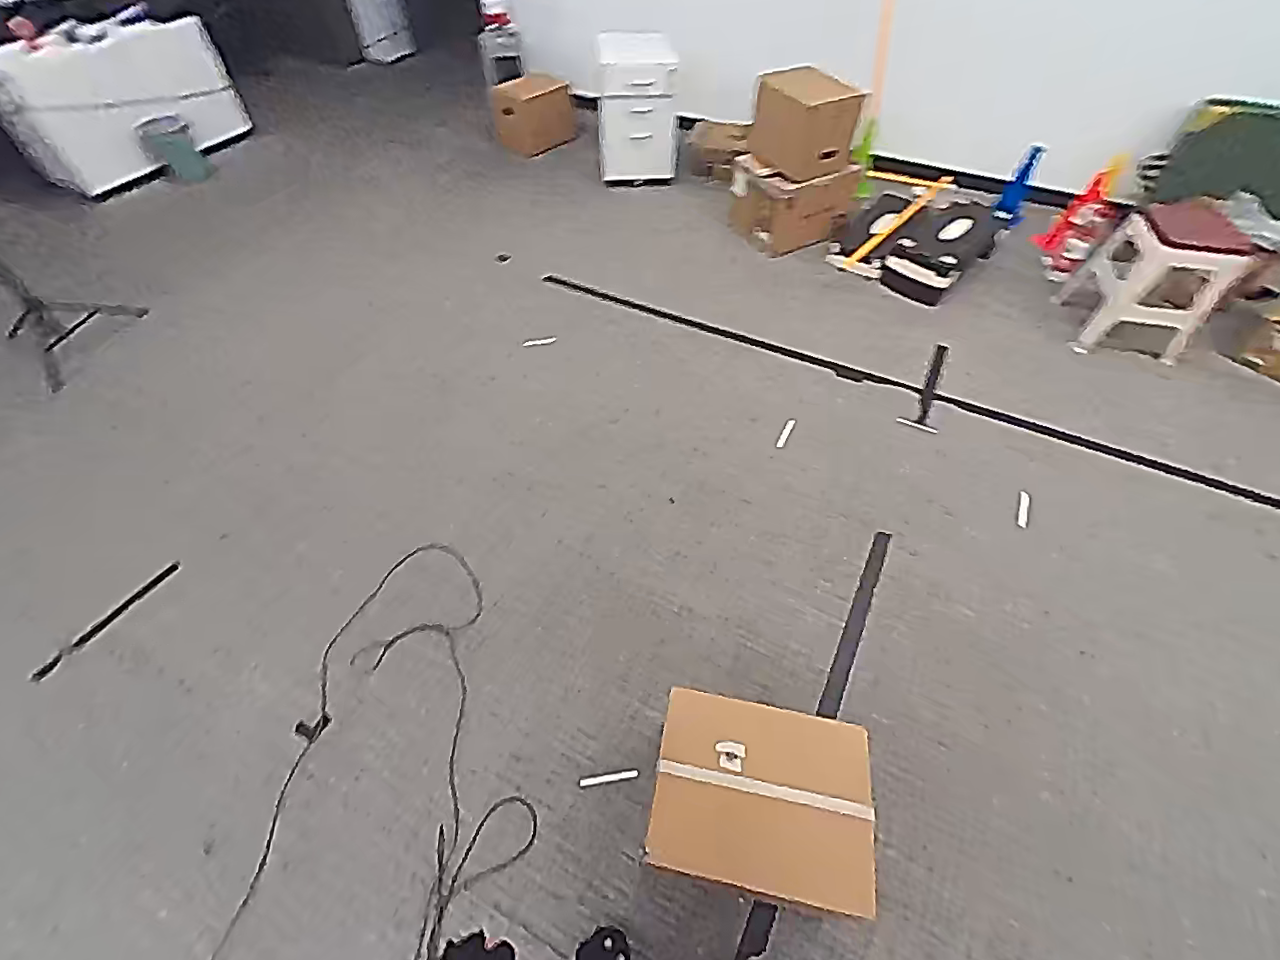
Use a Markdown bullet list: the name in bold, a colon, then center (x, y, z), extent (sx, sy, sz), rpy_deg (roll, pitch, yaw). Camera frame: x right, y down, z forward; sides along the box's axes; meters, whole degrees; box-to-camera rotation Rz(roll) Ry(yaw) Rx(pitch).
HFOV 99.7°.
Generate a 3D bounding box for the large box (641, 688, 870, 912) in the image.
- **large box**: center (0.228, 0.677, 1.147), extent (0.408, 0.320, 0.320), rpy_deg (9, 52, 7)
